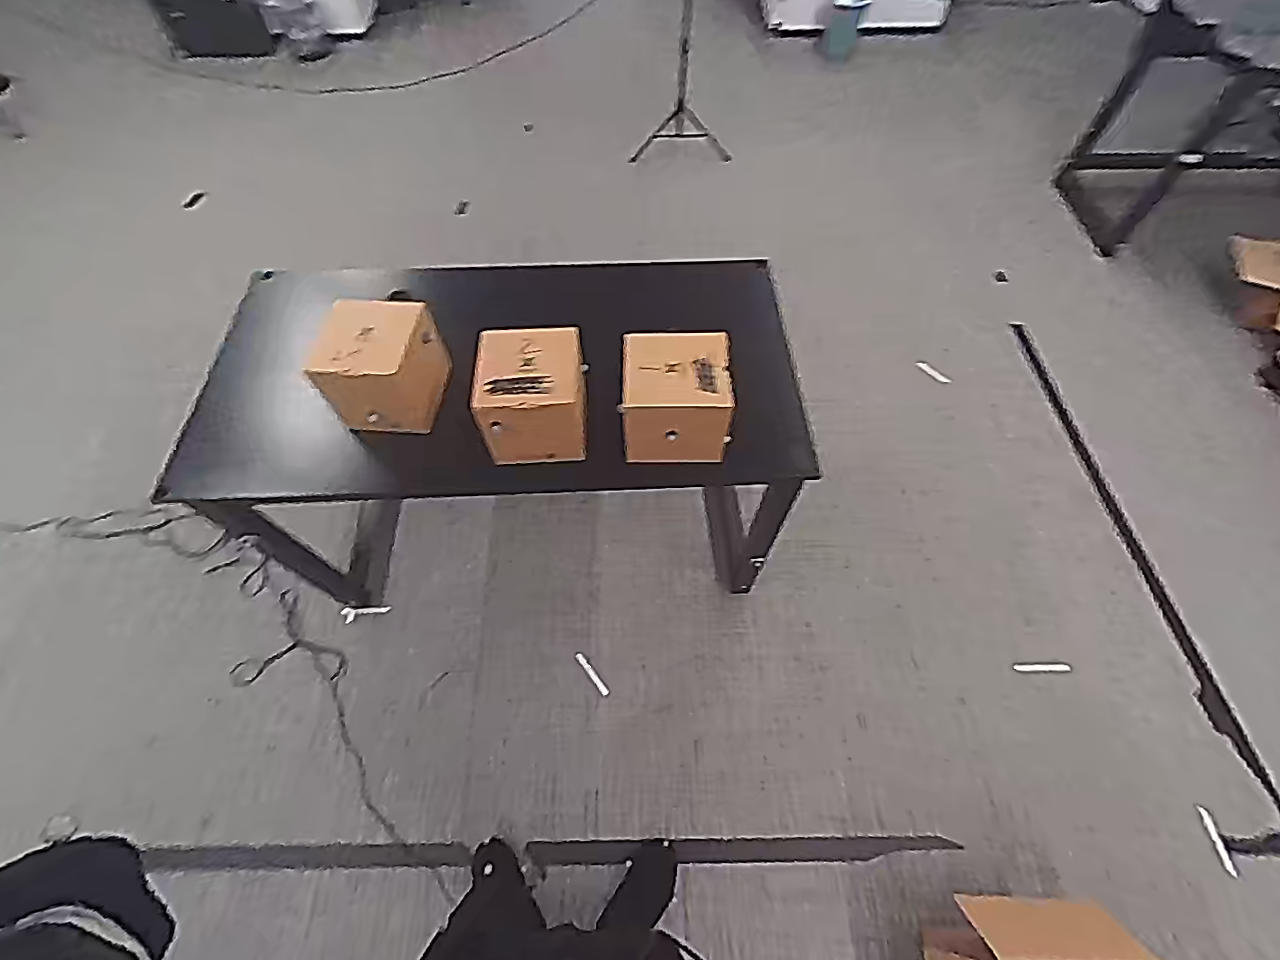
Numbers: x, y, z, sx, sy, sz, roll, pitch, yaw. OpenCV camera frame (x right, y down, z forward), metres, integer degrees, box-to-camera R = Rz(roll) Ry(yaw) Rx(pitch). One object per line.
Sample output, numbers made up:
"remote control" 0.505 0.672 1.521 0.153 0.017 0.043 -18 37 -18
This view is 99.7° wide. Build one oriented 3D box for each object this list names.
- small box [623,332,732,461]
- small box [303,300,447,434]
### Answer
"small box" 0.062 -0.144 0.968 0.179 0.176 0.168 -1 59 1
"small box" -0.476 -0.207 1.008 0.168 0.176 0.179 3 60 2
